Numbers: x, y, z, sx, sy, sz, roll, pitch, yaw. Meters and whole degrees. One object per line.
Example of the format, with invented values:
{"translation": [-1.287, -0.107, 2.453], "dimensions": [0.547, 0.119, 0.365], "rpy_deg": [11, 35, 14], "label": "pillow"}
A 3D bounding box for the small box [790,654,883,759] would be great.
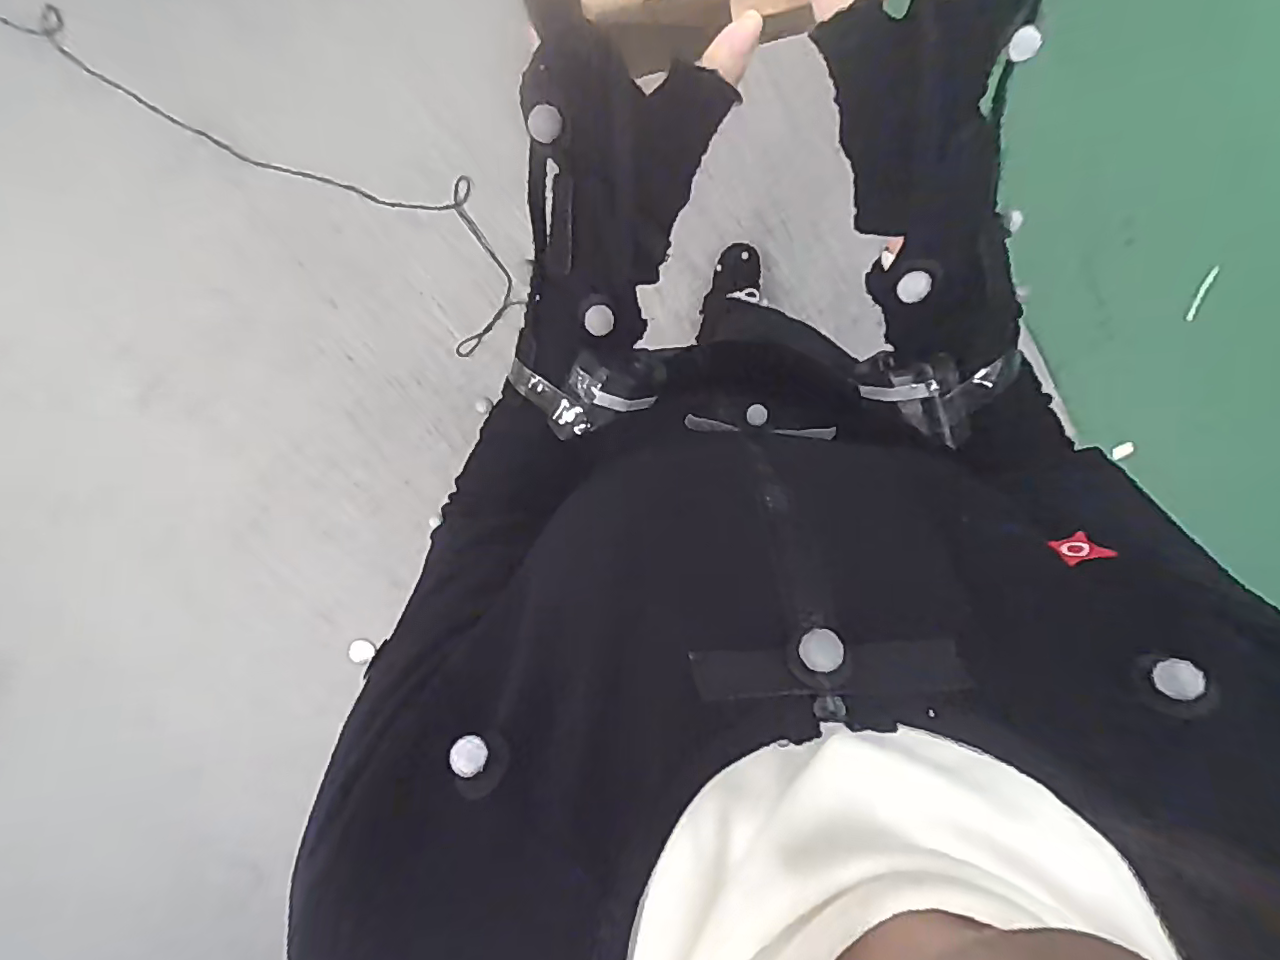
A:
{"translation": [0.532, 0.622, 1.497], "dimensions": [0.179, 0.176, 0.168], "rpy_deg": [-30, 104, 10], "label": "small box"}

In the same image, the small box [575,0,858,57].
{"translation": [0.041, -0.324, 0.246], "dimensions": [0.168, 0.176, 0.179], "rpy_deg": [-8, 117, 9], "label": "small box"}
